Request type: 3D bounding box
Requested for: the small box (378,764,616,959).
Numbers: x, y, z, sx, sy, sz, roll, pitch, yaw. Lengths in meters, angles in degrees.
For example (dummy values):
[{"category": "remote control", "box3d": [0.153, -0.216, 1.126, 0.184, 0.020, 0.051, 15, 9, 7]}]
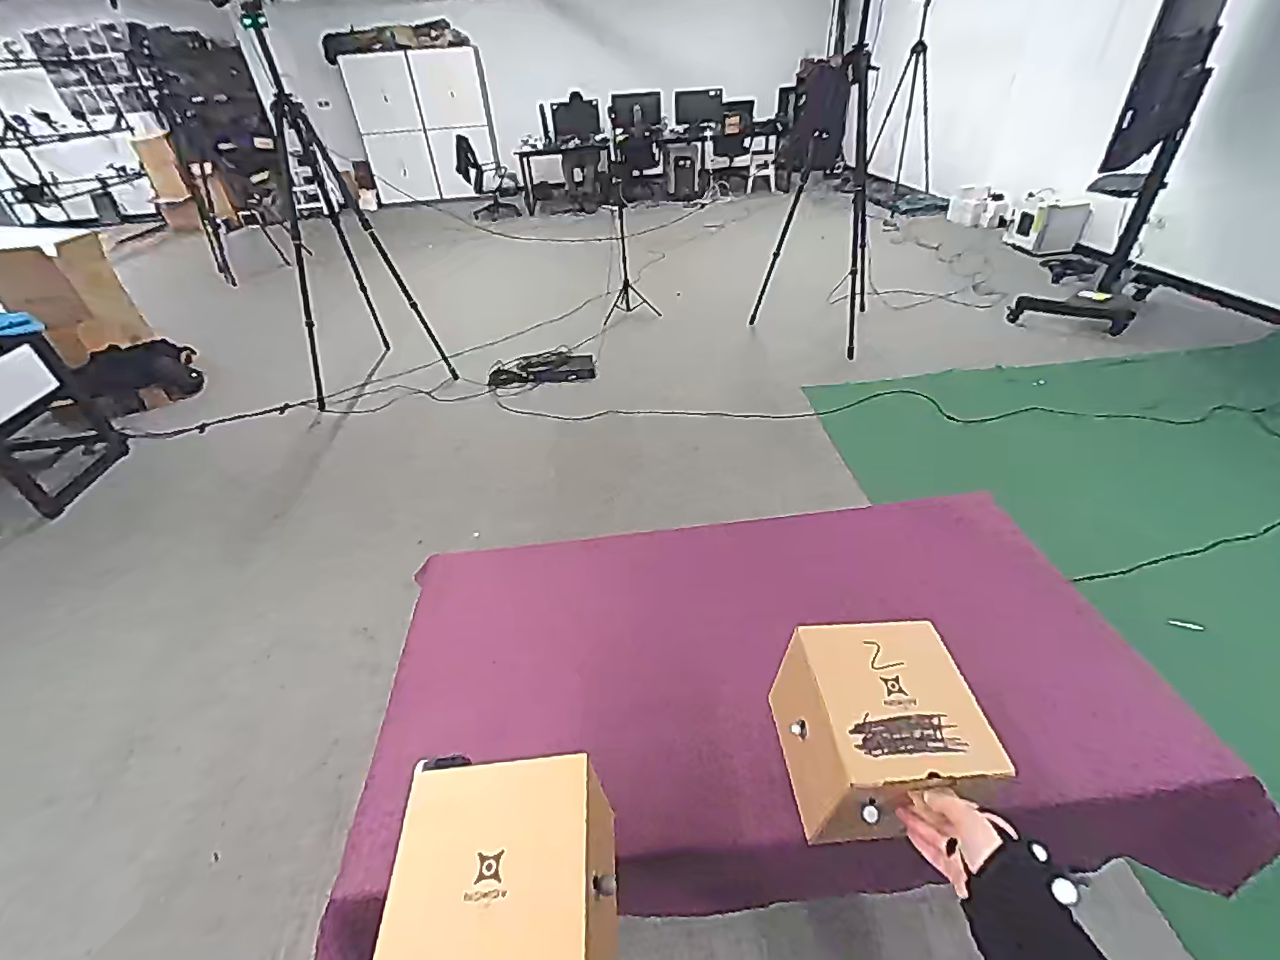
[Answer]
[{"category": "small box", "box3d": [-0.115, 0.392, 0.499, 0.168, 0.176, 0.179, -7, 43, 2]}]
